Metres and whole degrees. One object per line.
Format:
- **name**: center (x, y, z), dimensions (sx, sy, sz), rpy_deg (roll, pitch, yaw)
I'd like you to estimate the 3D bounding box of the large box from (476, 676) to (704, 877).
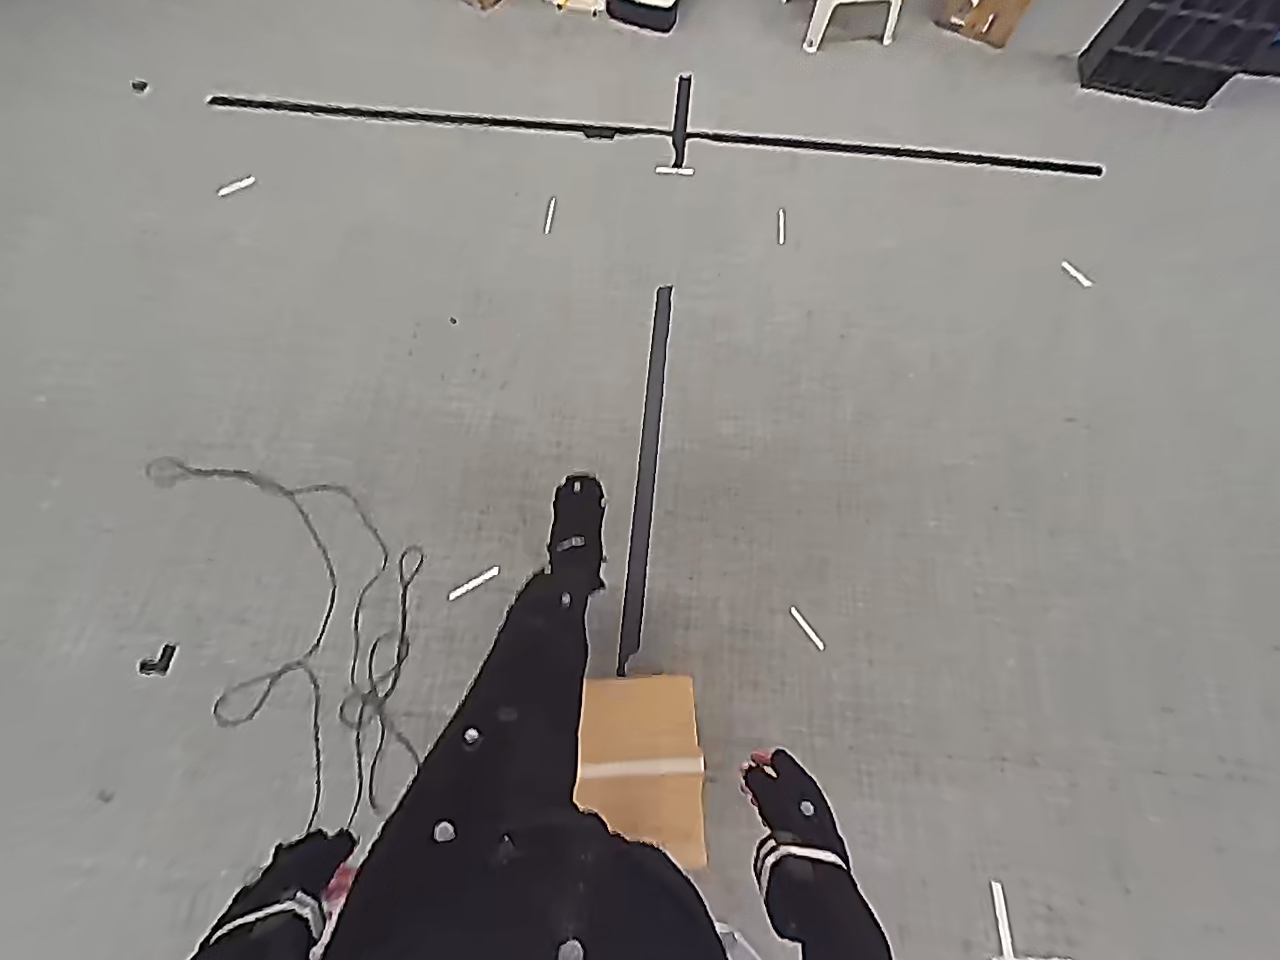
- **large box**: center (-0.094, 0.586, 1.129), dimensions (0.408, 0.320, 0.320), rpy_deg (-2, 68, -2)
